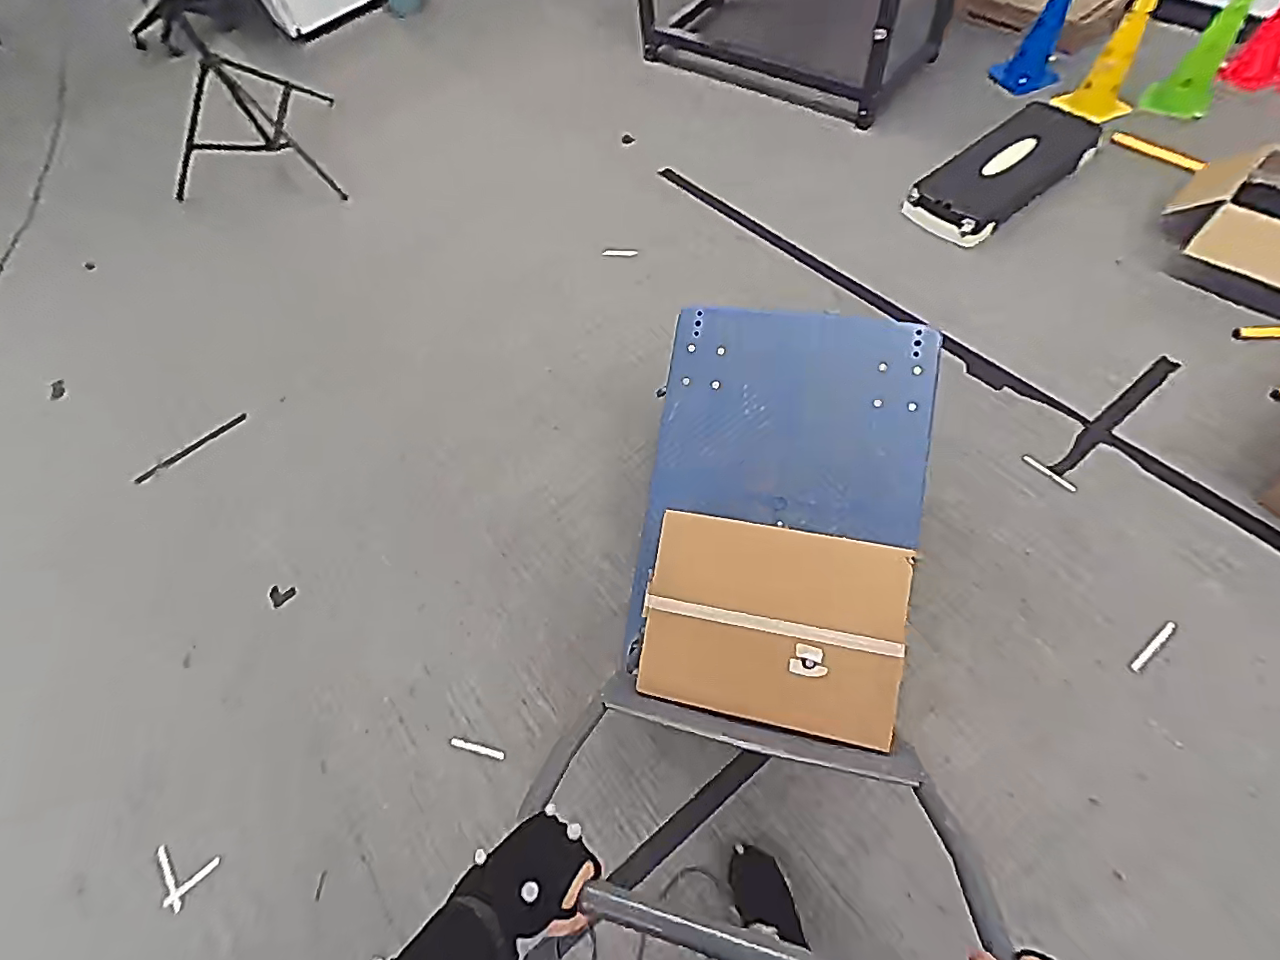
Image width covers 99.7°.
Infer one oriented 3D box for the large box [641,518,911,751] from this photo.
[{"bbox_3d":[0.241,0.259,1.028,0.408,0.320,0.320,9,86,12],"label":"large box"}]
